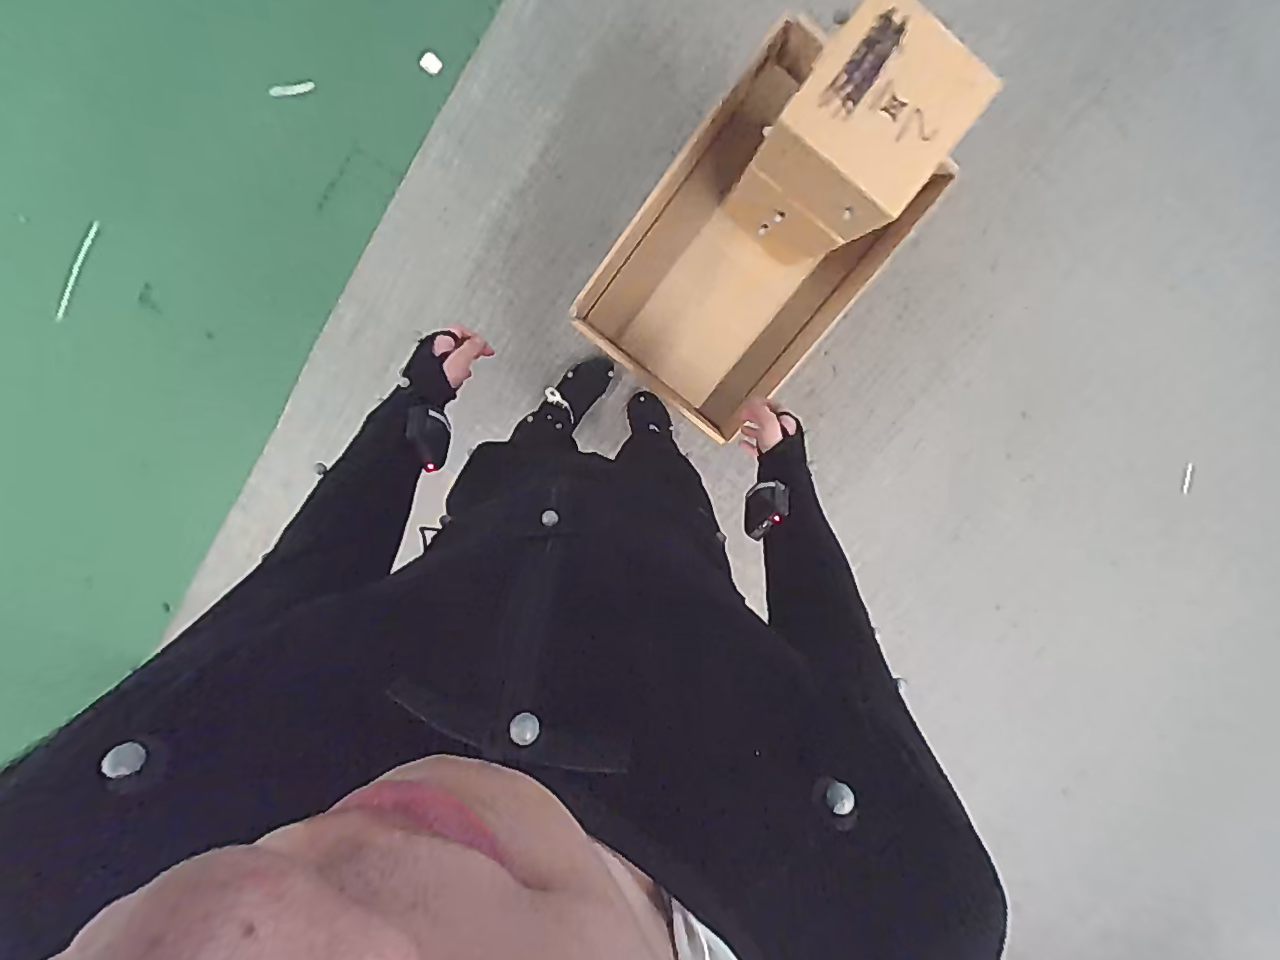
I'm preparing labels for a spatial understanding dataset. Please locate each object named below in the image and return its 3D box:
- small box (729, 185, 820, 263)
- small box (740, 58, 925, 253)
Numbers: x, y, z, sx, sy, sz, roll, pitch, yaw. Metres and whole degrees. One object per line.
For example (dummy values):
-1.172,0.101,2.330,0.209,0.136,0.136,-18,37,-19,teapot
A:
0.283,-0.513,0.973,0.179,0.176,0.168,38,103,-8,small box
0.275,-0.467,0.815,0.179,0.176,0.168,36,103,-7,small box
